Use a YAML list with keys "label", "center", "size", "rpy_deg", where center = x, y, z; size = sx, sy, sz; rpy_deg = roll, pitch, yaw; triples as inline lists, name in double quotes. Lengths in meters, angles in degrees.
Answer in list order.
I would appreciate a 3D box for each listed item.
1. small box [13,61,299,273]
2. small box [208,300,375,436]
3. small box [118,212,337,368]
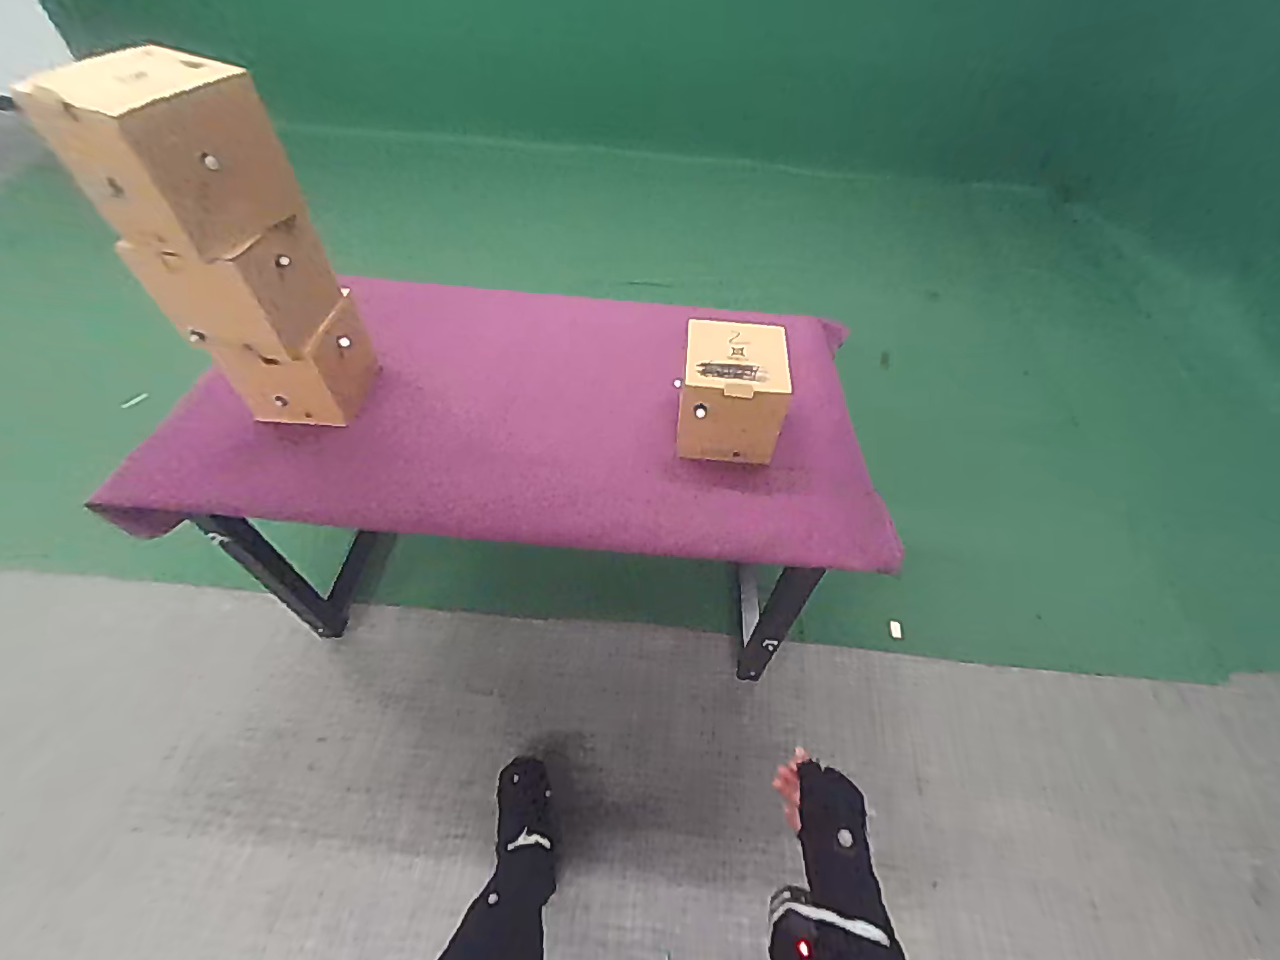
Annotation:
- label: "small box"
  center: [-0.588, -0.394, 0.688]
  size: [0.168, 0.176, 0.179]
  rpy_deg: [22, 56, 12]
- label: "small box"
  center: [-0.594, -0.202, 0.956]
  size: [0.168, 0.176, 0.179]
  rpy_deg: [4, 53, -1]
- label: "small box"
  center: [-0.596, -0.291, 0.817]
  size: [0.168, 0.176, 0.179]
  rpy_deg: [8, 52, 2]
